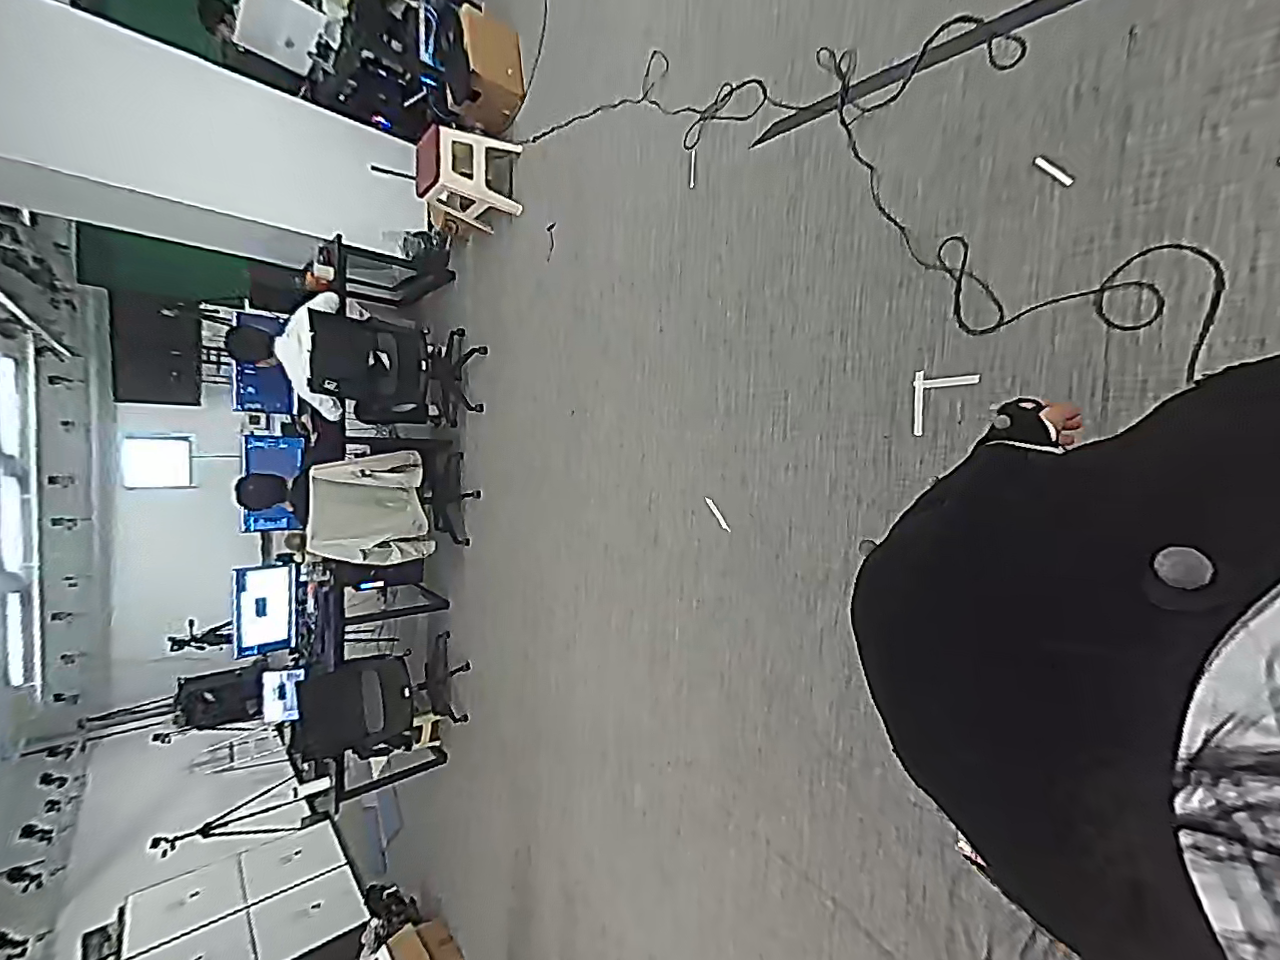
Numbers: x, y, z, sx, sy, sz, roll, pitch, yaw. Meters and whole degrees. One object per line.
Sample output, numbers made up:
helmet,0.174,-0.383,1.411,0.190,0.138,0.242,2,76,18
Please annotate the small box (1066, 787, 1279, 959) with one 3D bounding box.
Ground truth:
small box,0.683,0.541,0.702,0.168,0.176,0.179,10,96,47
